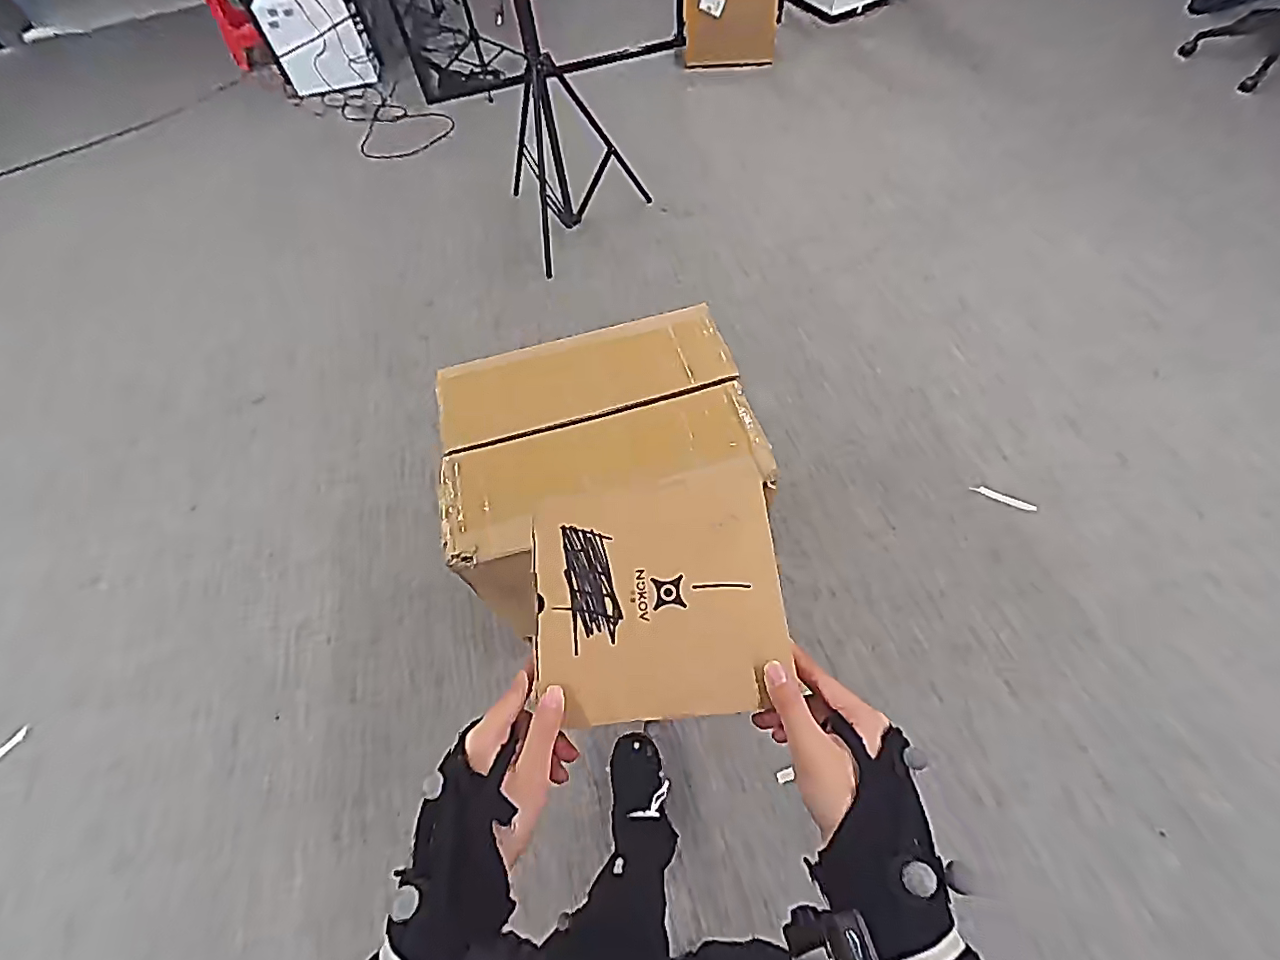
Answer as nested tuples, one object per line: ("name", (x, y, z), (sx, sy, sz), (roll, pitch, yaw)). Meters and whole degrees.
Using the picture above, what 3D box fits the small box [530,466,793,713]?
("small box", (0.013, 0.101, 0.457), (0.179, 0.176, 0.168), (-6, 69, 0))
